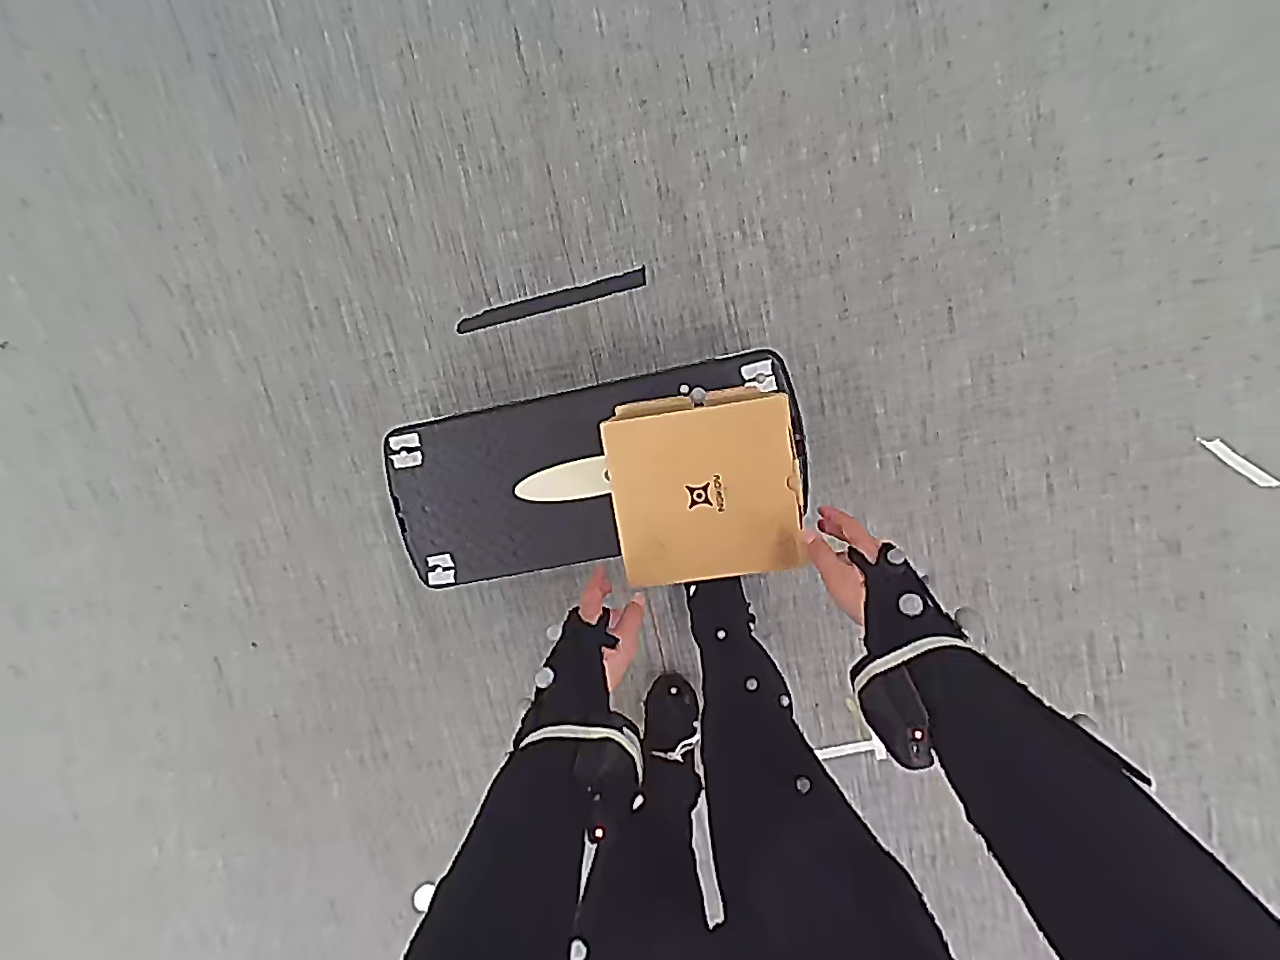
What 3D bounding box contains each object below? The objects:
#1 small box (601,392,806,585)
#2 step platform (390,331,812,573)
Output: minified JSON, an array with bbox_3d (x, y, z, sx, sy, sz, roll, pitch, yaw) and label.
[{"bbox_3d":[0.066,0.000,0.584,0.179,0.176,0.168,-9,99,5],"label":"small box"},{"bbox_3d":[-0.062,-0.044,0.928,0.684,0.204,0.286,-11,98,7],"label":"step platform"}]
